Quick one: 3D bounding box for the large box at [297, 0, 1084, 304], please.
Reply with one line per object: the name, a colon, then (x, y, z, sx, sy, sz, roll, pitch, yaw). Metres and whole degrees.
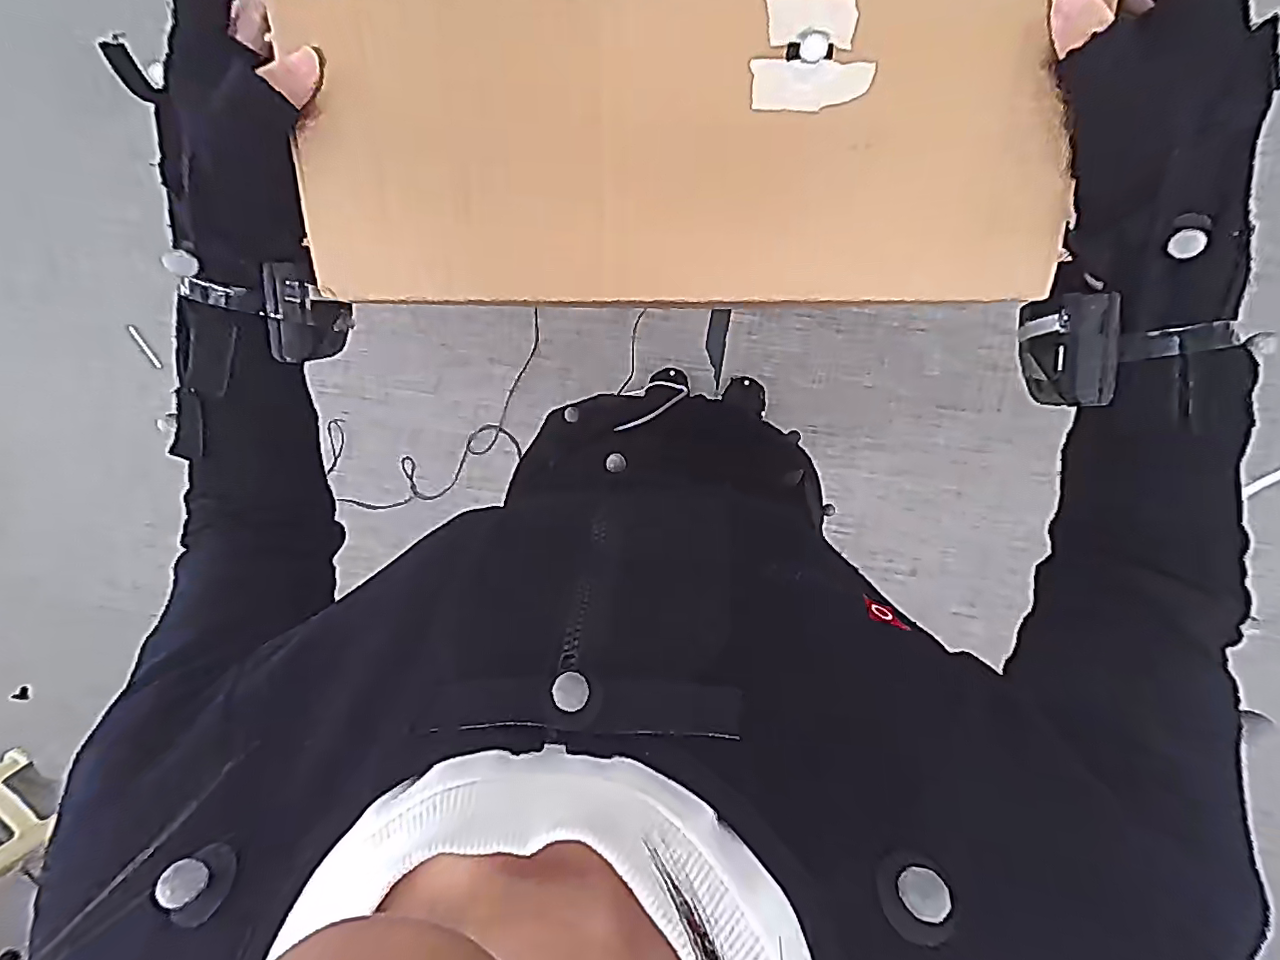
large box: (0.026, -0.302, 0.410, 0.408, 0.320, 0.320, 1, 108, 3)
